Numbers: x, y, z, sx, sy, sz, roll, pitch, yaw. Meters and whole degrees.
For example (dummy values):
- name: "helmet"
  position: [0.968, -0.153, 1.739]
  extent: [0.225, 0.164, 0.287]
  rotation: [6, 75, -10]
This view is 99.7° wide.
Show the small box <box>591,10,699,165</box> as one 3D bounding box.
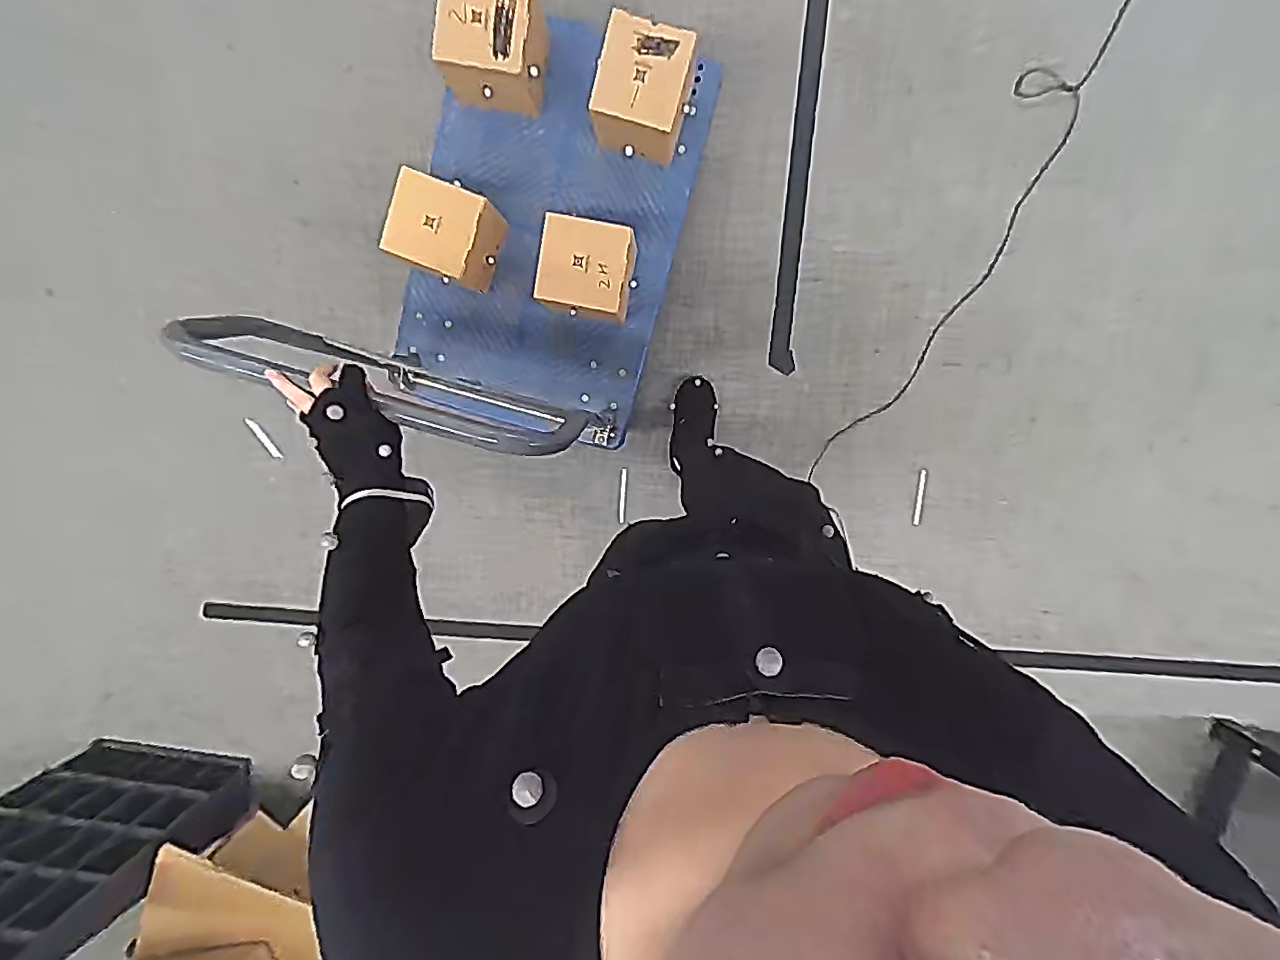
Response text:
- name: "small box"
  position: [0.011, -0.775, 1.087]
  extent: [0.168, 0.176, 0.179]
  rotation: [17, 101, 0]

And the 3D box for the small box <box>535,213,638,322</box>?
- name: "small box"
  position: [-0.107, -0.440, 1.145]
  extent: [0.179, 0.176, 0.168]
  rotation: [11, 100, 1]

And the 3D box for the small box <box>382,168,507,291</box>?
- name: "small box"
  position: [-0.405, -0.518, 1.147]
  extent: [0.179, 0.176, 0.168]
  rotation: [20, 99, -3]
